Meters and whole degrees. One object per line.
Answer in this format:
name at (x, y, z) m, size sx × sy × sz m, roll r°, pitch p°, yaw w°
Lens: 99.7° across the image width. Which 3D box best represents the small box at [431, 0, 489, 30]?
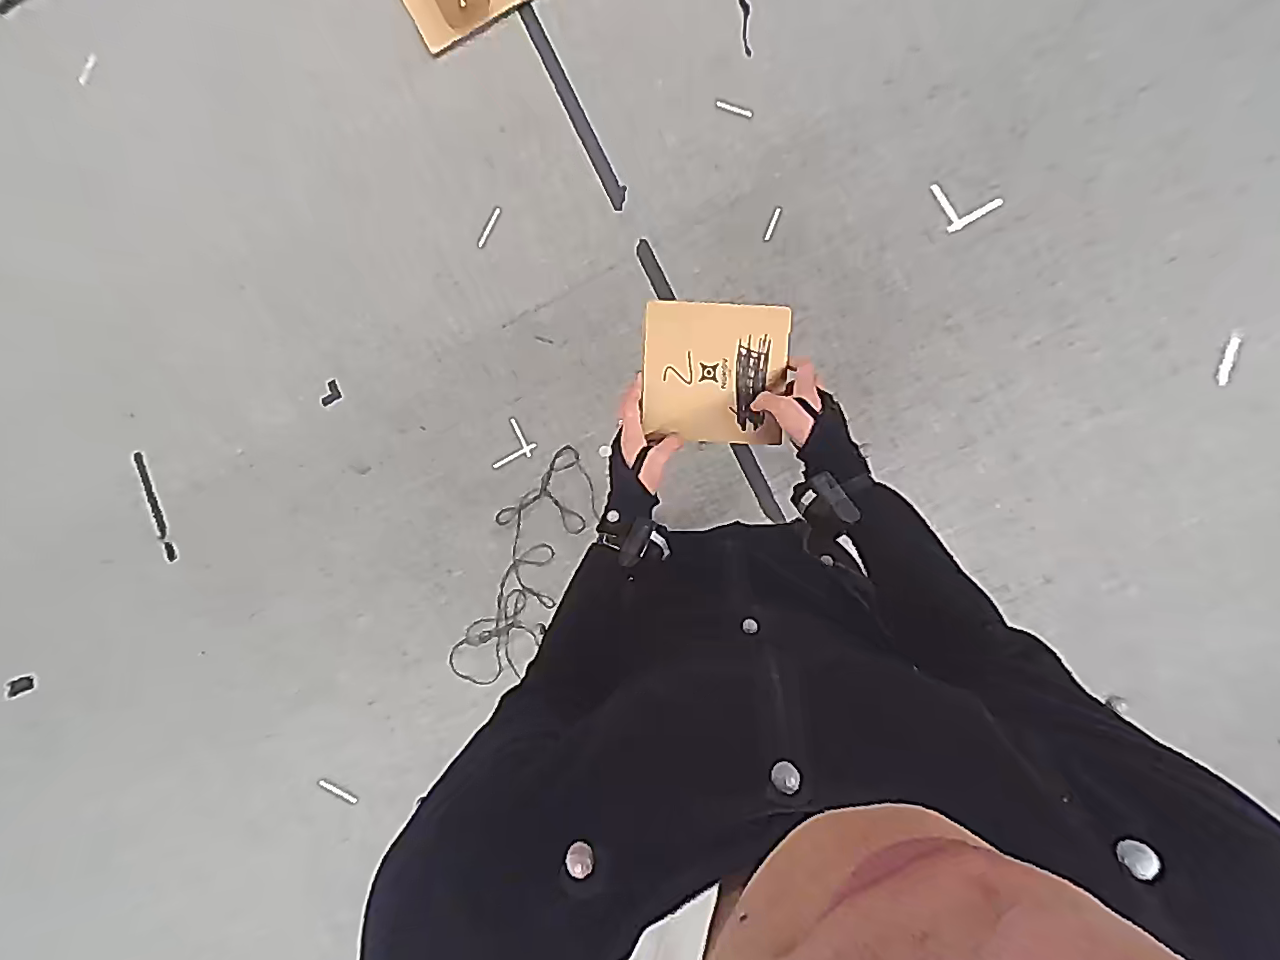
small box at (-0.614, -1.614, 1.730) m, size 0.168 × 0.176 × 0.179 m, roll -29°, pitch 85°, yaw 5°
